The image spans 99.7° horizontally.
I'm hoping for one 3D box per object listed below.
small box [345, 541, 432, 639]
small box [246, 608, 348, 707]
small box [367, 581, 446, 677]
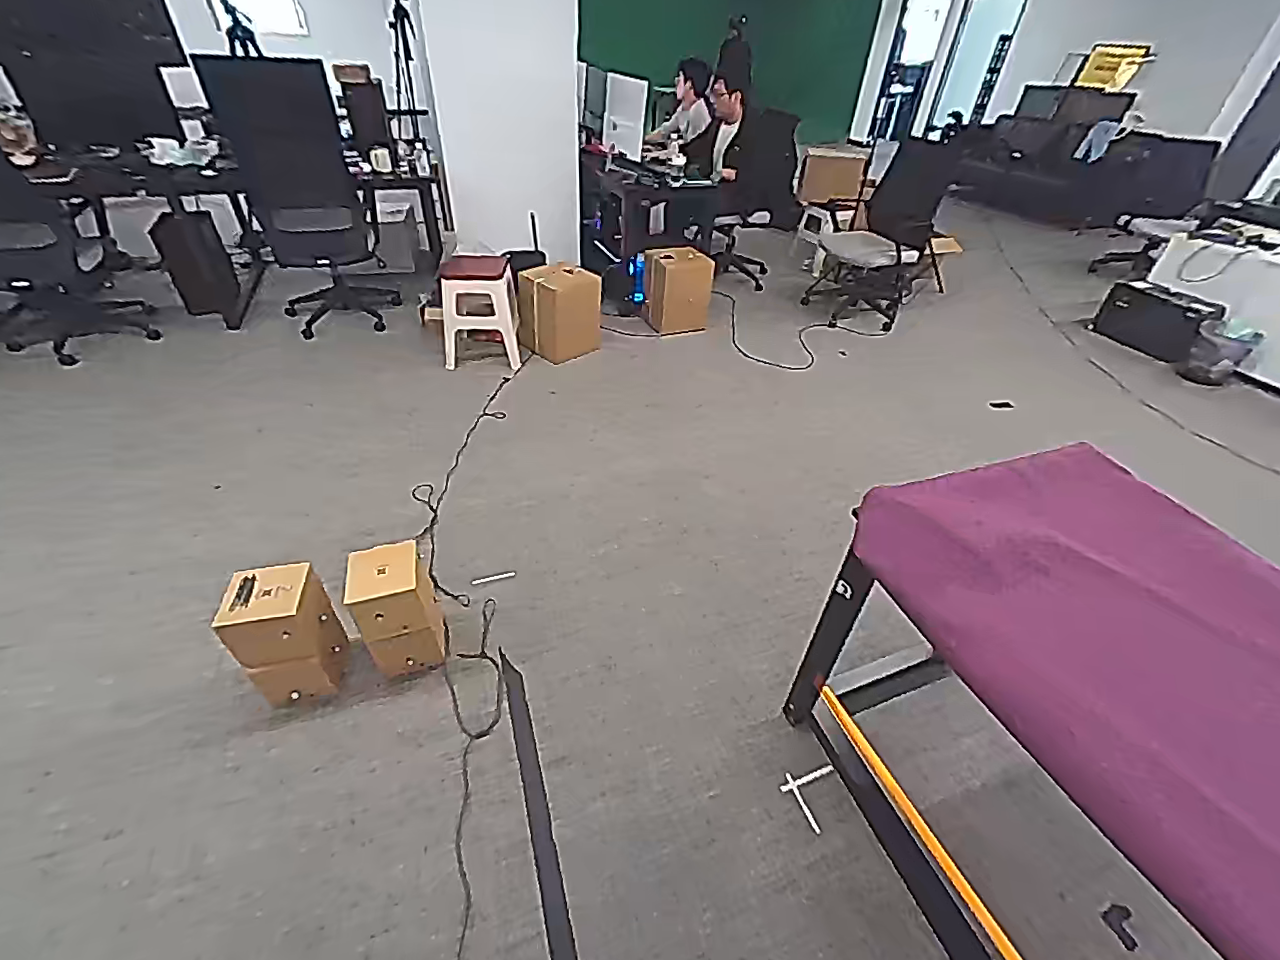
[{"bbox_3d":[-0.644,0.291,1.404,0.168,0.176,0.179,-11,41,-15],"label":"small box"},{"bbox_3d":[-0.894,0.468,1.431,0.168,0.176,0.179,-7,41,-11],"label":"small box"},{"bbox_3d":[-0.646,0.415,1.508,0.168,0.176,0.179,-12,42,-14],"label":"small box"}]
